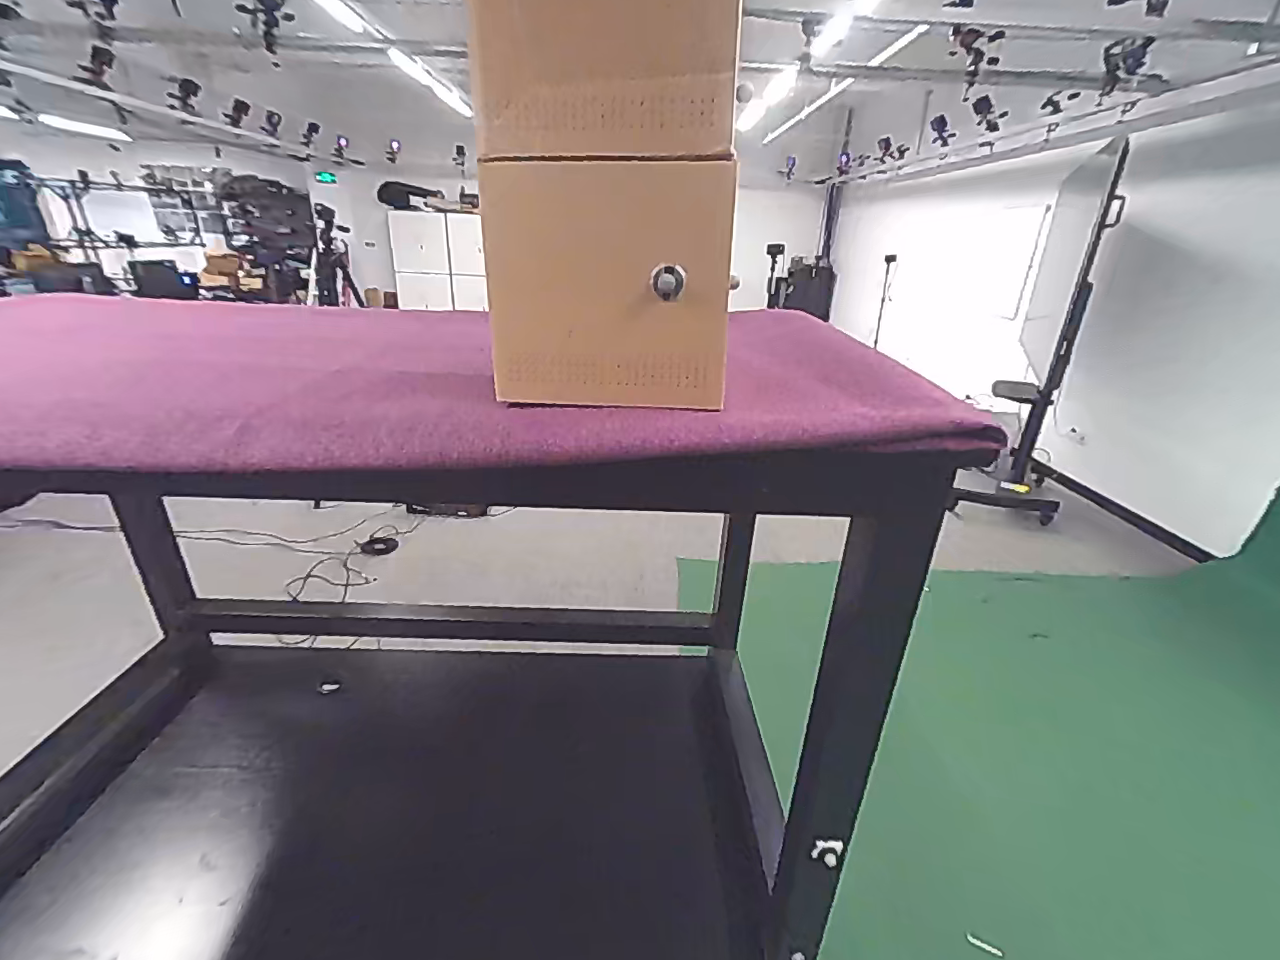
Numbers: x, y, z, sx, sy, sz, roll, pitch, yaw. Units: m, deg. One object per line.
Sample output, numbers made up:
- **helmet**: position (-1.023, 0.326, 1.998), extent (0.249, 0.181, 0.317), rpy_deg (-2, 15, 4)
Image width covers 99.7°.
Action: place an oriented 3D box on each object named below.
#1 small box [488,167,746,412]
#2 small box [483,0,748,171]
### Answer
- **small box**: position (-0.012, -0.156, 0.461), extent (0.179, 0.176, 0.168), rpy_deg (2, 20, 4)
- **small box**: position (-0.010, -0.310, 0.409), extent (0.179, 0.176, 0.168), rpy_deg (4, 21, 7)
